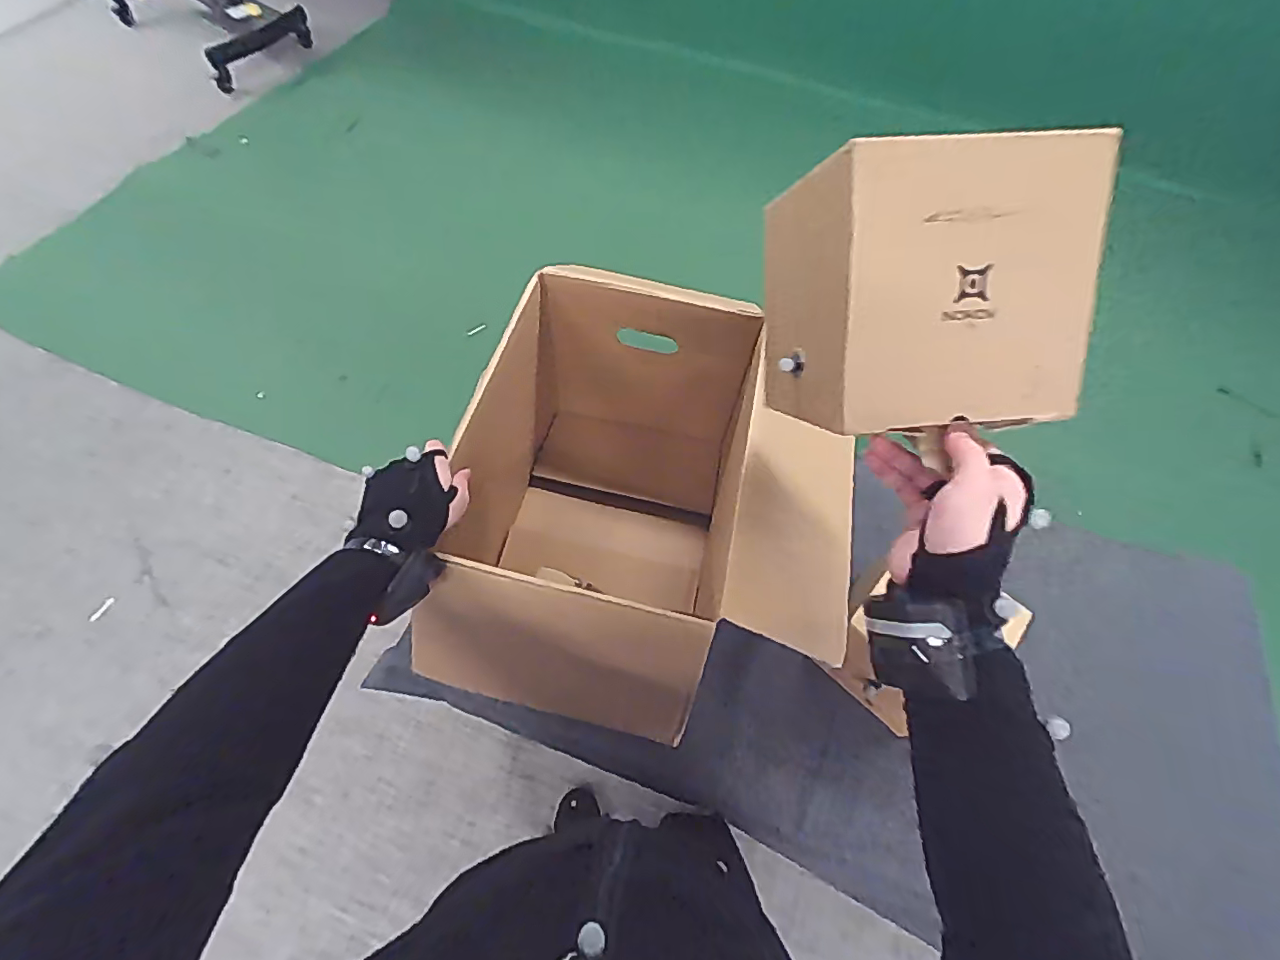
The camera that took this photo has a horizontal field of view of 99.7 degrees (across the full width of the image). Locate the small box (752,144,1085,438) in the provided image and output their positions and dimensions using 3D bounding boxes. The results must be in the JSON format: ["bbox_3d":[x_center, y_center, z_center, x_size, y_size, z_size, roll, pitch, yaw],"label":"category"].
[{"bbox_3d":[0.193,-0.138,0.428,0.168,0.176,0.179,-6,103,-6],"label":"small box"}]
